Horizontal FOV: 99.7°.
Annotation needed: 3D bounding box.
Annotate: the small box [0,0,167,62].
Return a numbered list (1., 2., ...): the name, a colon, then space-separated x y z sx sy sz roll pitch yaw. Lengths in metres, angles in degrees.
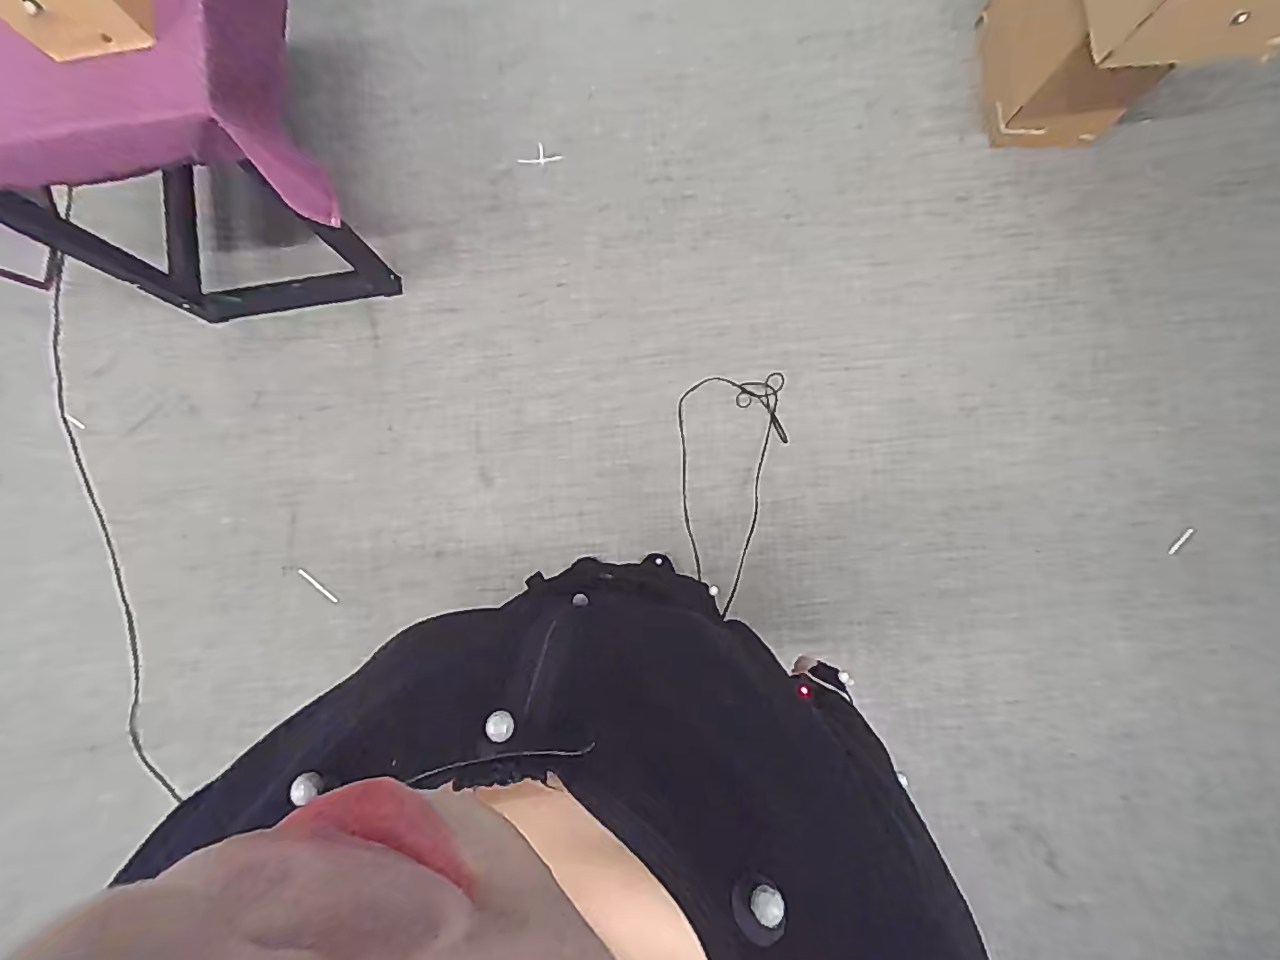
1. small box: -0.869 -0.780 0.821 0.168 0.176 0.179 -10 83 1
